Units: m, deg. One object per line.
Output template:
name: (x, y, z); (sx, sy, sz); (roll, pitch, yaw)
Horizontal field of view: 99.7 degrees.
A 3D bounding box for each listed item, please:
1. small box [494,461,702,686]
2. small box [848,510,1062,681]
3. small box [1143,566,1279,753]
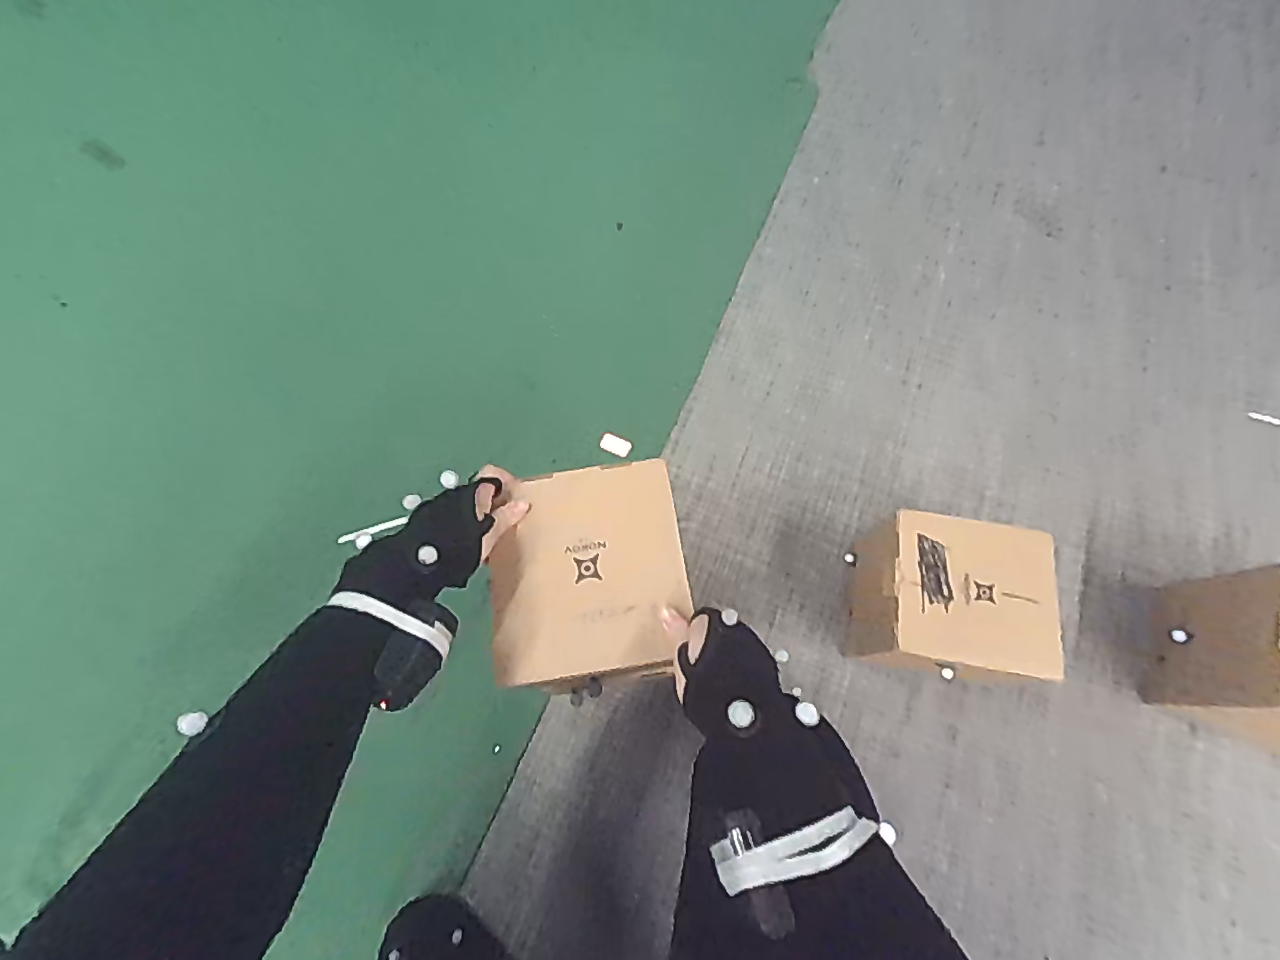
small box: (-0.040, 0.101, 0.537); (0.168, 0.176, 0.179); (-9, 69, -2)
small box: (0.374, 0.152, 0.677); (0.179, 0.176, 0.168); (9, 69, 4)
small box: (0.764, 0.220, 0.640); (0.179, 0.176, 0.168); (21, 70, 9)
